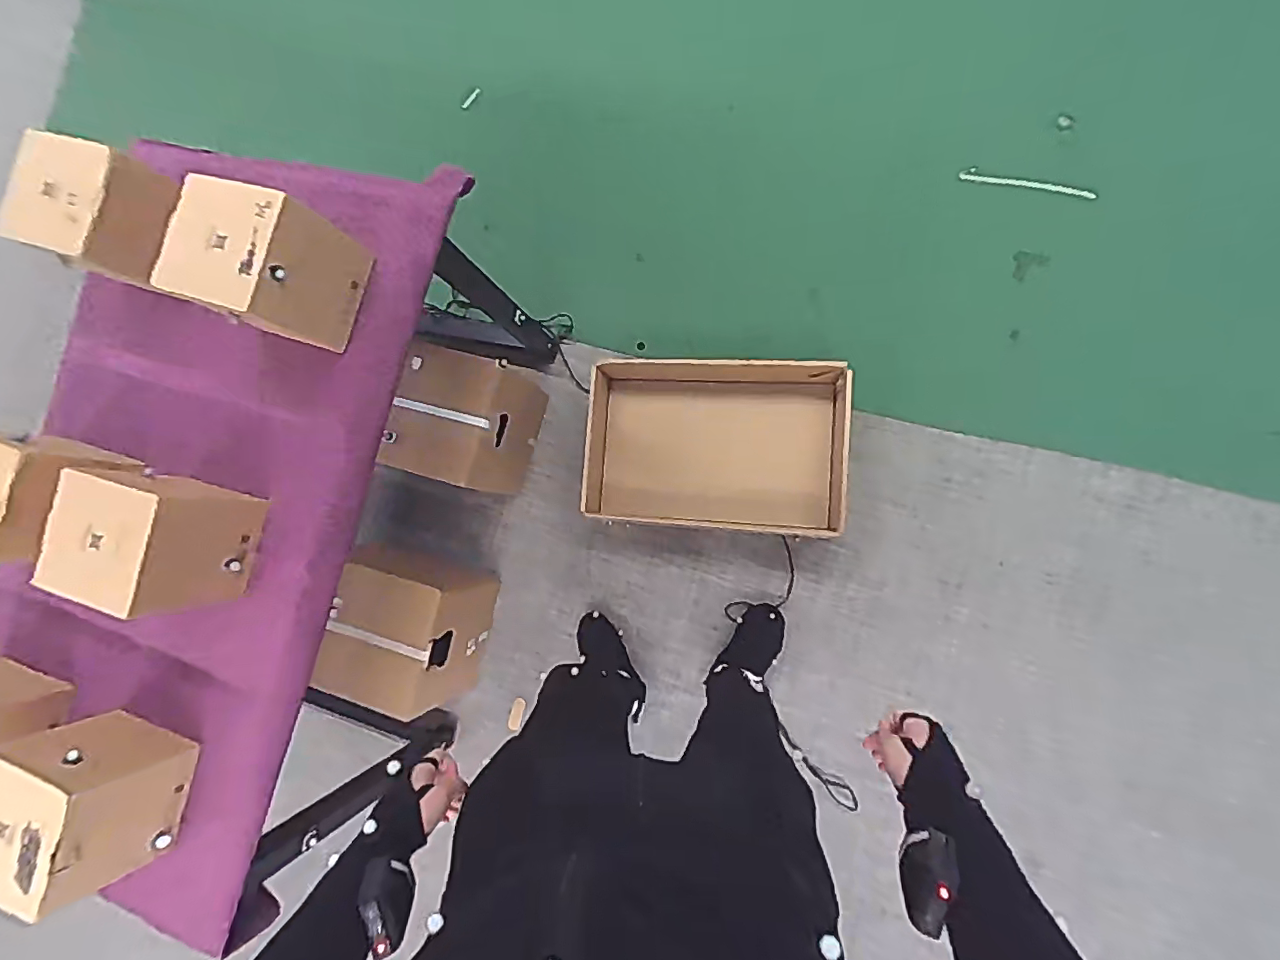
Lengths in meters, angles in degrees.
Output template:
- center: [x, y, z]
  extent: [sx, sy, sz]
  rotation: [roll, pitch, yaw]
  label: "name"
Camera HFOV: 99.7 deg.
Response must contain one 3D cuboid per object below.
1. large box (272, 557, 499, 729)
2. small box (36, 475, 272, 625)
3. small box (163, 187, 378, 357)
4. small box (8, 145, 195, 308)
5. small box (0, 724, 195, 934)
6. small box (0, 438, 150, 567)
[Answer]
- center: [-0.644, 0.398, 1.423]
  extent: [0.408, 0.320, 0.320]
  rotation: [12, 85, 14]
  label: "large box"
- center: [-0.696, 0.098, 0.790]
  extent: [0.179, 0.176, 0.168]
  rotation: [13, 87, 13]
  label: "small box"
- center: [-0.534, -0.296, 0.800]
  extent: [0.179, 0.176, 0.168]
  rotation: [17, 89, 15]
  label: "small box"
- center: [-0.825, -0.396, 0.869]
  extent: [0.179, 0.176, 0.168]
  rotation: [17, 89, 12]
  label: "small box"
- center: [-0.789, 0.470, 0.764]
  extent: [0.179, 0.176, 0.168]
  rotation: [13, 86, 14]
  label: "small box"
- center: [-0.942, 0.036, 0.849]
  extent: [0.179, 0.176, 0.168]
  rotation: [15, 86, 12]
  label: "small box"
